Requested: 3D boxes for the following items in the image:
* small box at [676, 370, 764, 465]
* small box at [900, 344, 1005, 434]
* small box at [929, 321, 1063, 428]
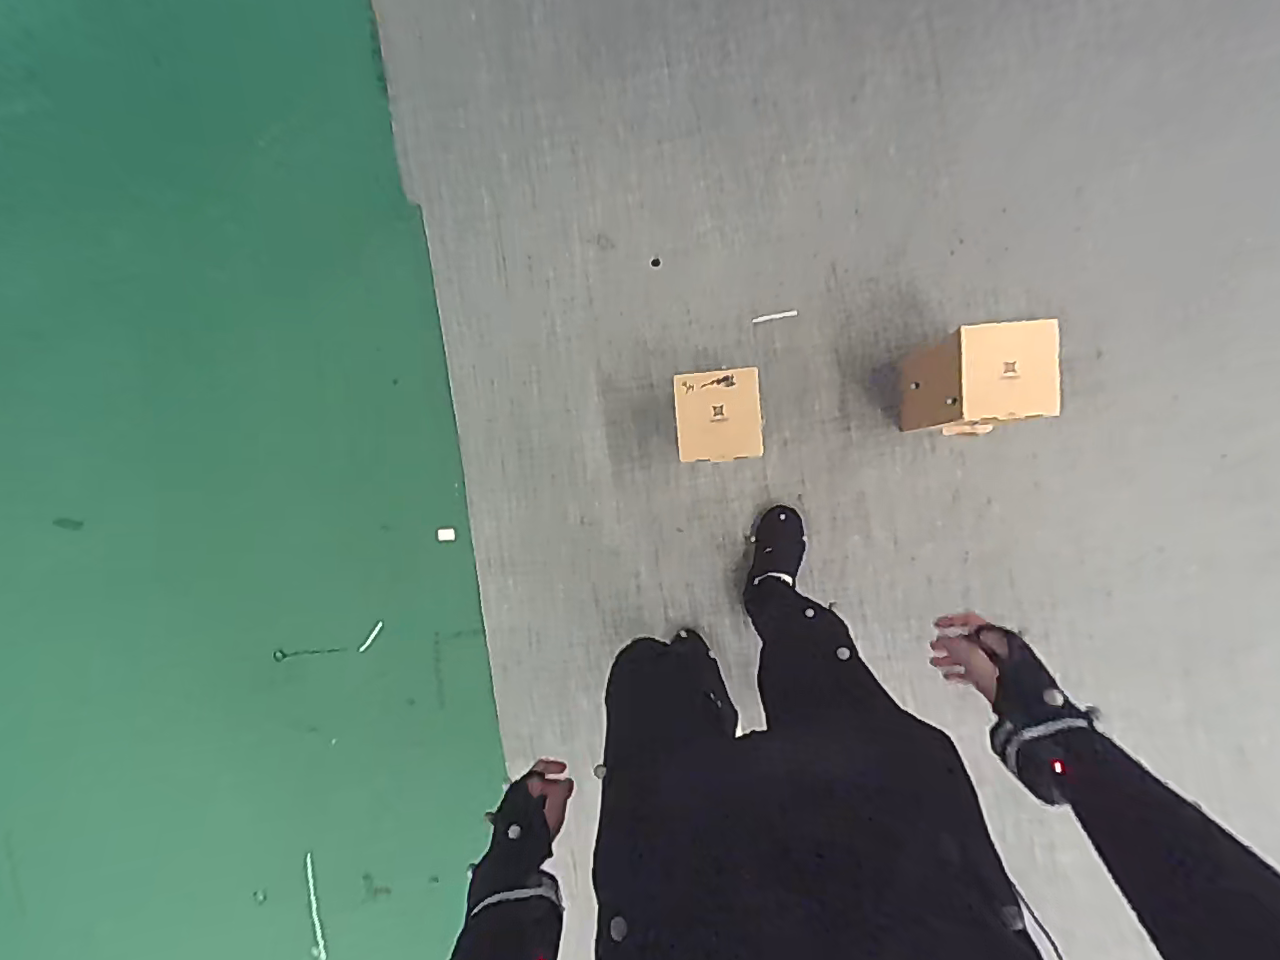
[{"bbox_3d":[0.167,-0.127,1.129,0.168,0.176,0.179,-4,93,8],"label":"small box"},{"bbox_3d":[0.697,-0.199,1.212,0.168,0.176,0.179,3,93,10],"label":"small box"},{"bbox_3d":[0.681,-0.197,1.052,0.168,0.176,0.179,-3,92,8],"label":"small box"}]
